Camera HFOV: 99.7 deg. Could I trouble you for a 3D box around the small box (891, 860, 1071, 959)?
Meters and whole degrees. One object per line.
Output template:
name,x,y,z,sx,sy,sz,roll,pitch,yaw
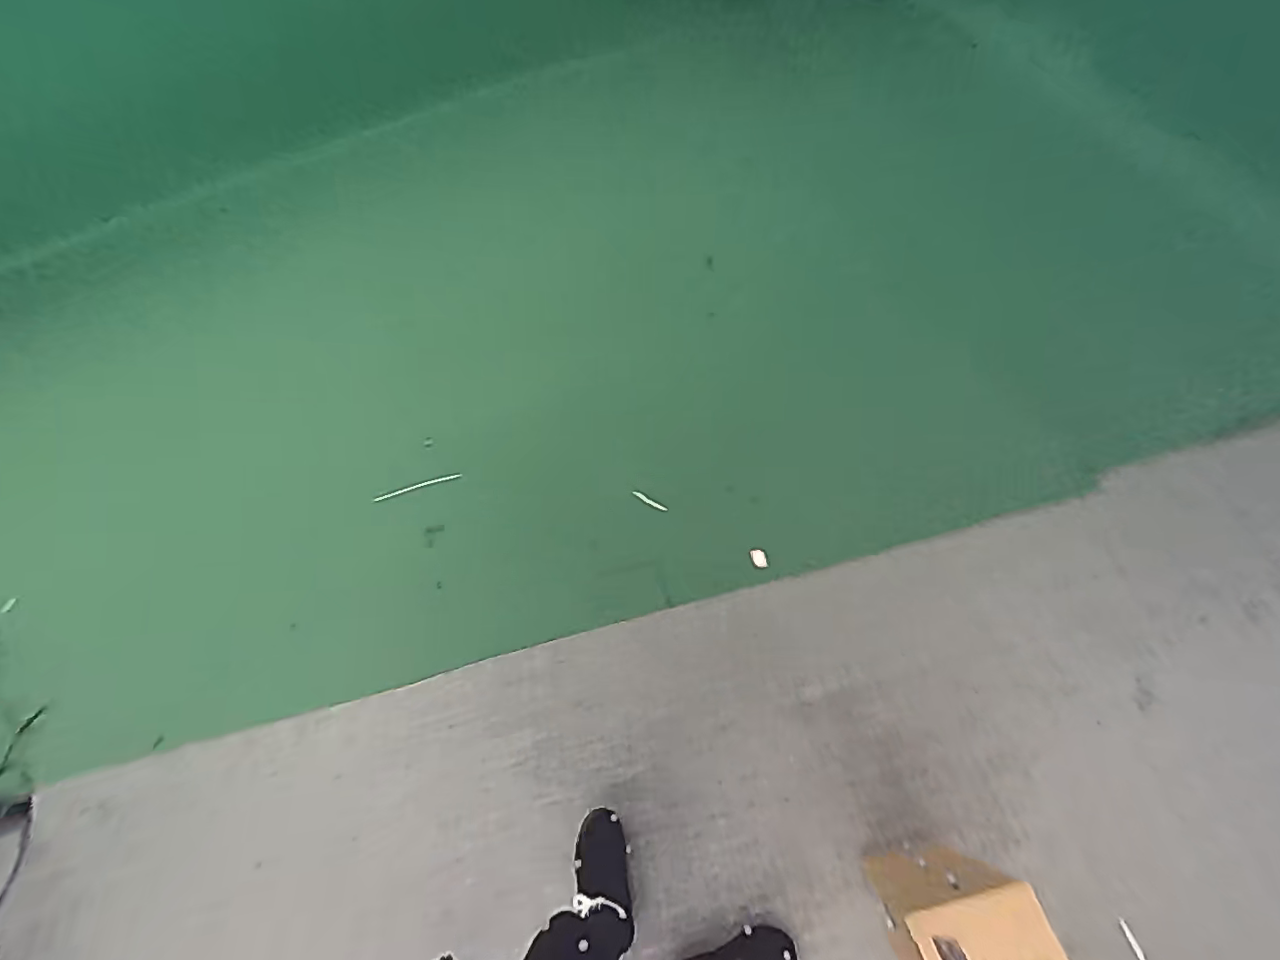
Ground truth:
small box,0.482,0.667,0.771,0.179,0.176,0.168,-18,60,2

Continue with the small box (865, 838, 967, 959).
small box,0.559,0.818,1.053,0.168,0.176,0.179,-17,60,4
